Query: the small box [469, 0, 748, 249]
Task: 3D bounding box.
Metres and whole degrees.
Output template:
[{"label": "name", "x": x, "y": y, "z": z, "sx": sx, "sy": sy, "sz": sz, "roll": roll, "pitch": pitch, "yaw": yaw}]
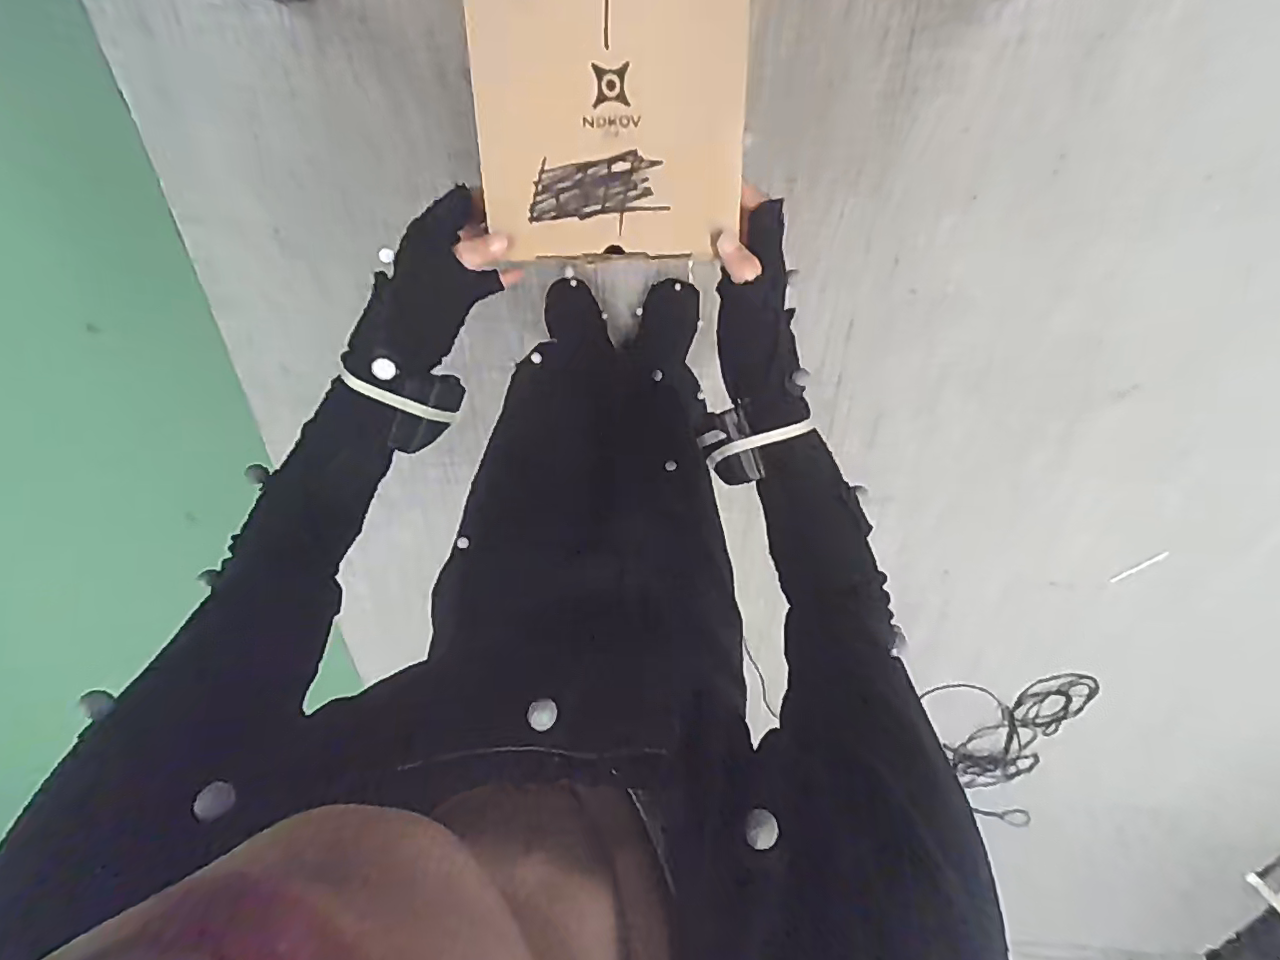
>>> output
[{"label": "small box", "x": -0.016, "y": -0.269, "z": 0.403, "sx": 0.168, "sy": 0.176, "sz": 0.179, "roll": 0, "pitch": 111, "yaw": 1}]
